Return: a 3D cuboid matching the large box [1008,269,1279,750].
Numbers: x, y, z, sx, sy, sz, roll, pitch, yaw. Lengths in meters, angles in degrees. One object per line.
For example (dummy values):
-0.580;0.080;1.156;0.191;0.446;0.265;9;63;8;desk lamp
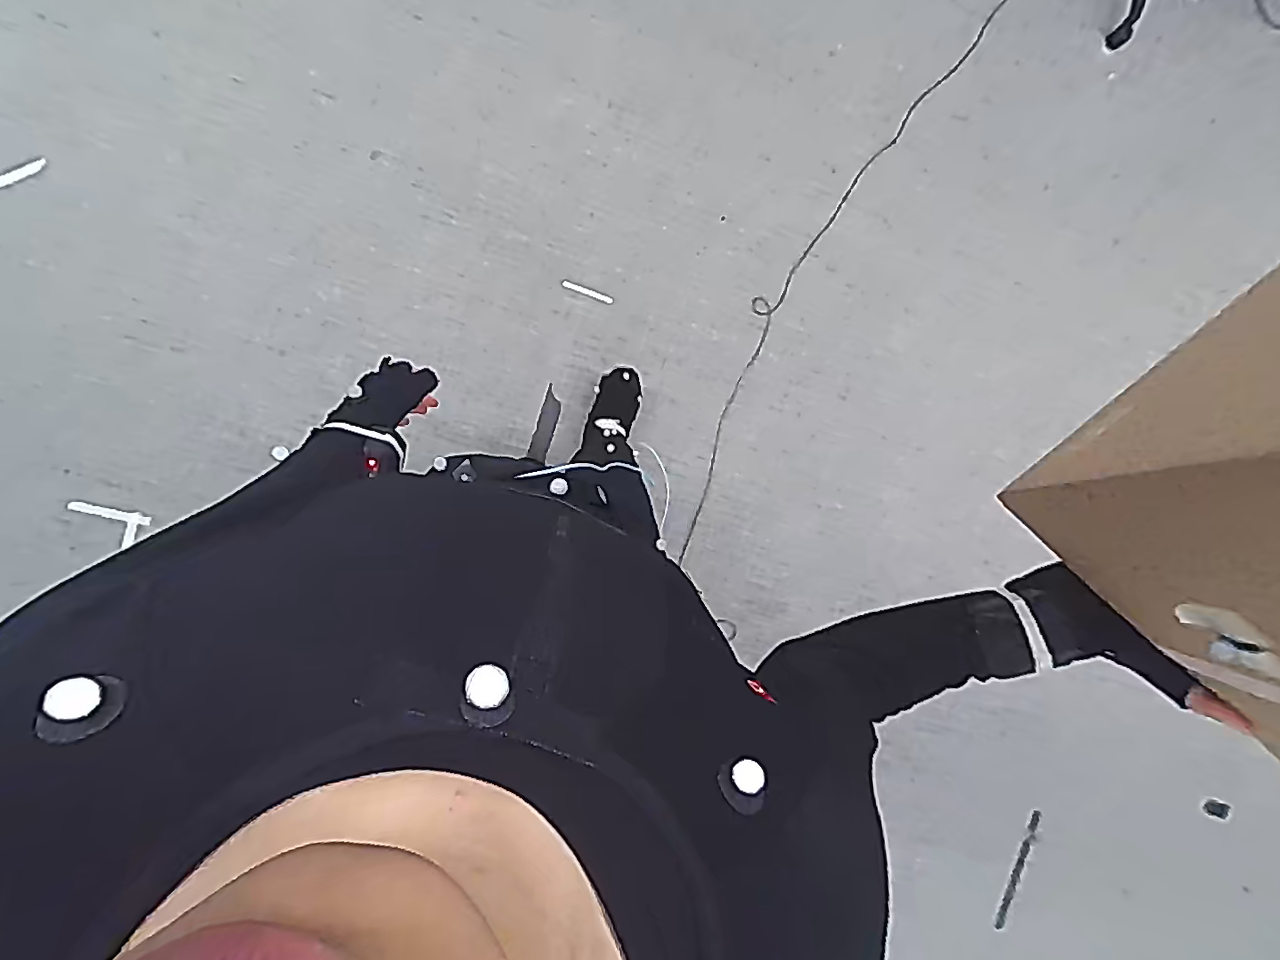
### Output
0.444;0.007;0.201;0.320;0.408;0.320;-43;76;13;large box
